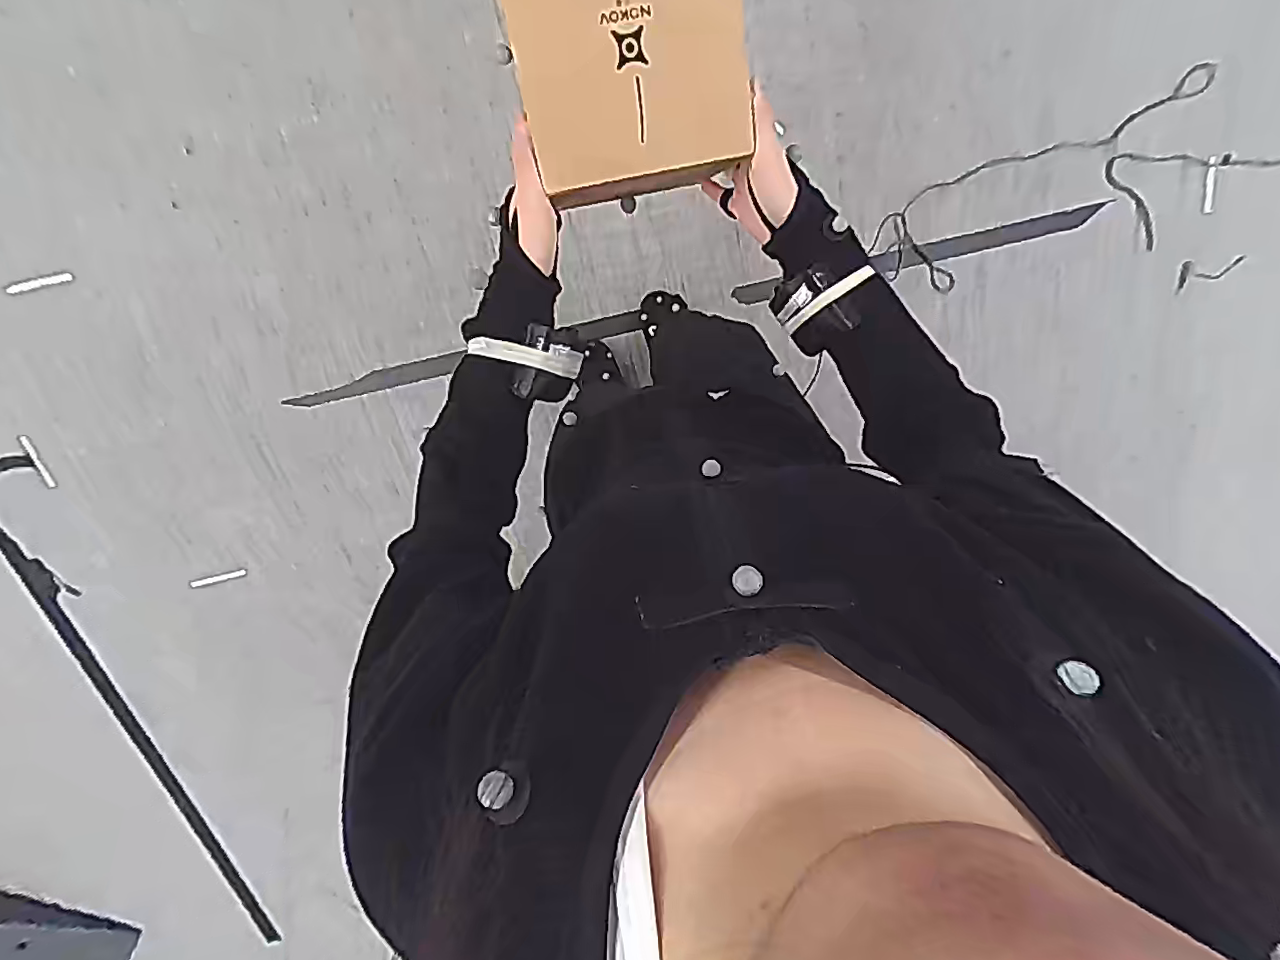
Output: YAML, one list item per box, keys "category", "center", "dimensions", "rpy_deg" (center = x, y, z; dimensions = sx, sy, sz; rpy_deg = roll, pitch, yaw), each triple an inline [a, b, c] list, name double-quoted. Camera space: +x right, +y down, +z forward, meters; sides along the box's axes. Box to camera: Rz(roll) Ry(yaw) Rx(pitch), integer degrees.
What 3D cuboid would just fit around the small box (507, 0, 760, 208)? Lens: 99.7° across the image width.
- category: "small box"
  center: [-0.014, -0.340, 0.445]
  dimensions: [0.168, 0.176, 0.179]
  rpy_deg: [-12, 113, -3]
